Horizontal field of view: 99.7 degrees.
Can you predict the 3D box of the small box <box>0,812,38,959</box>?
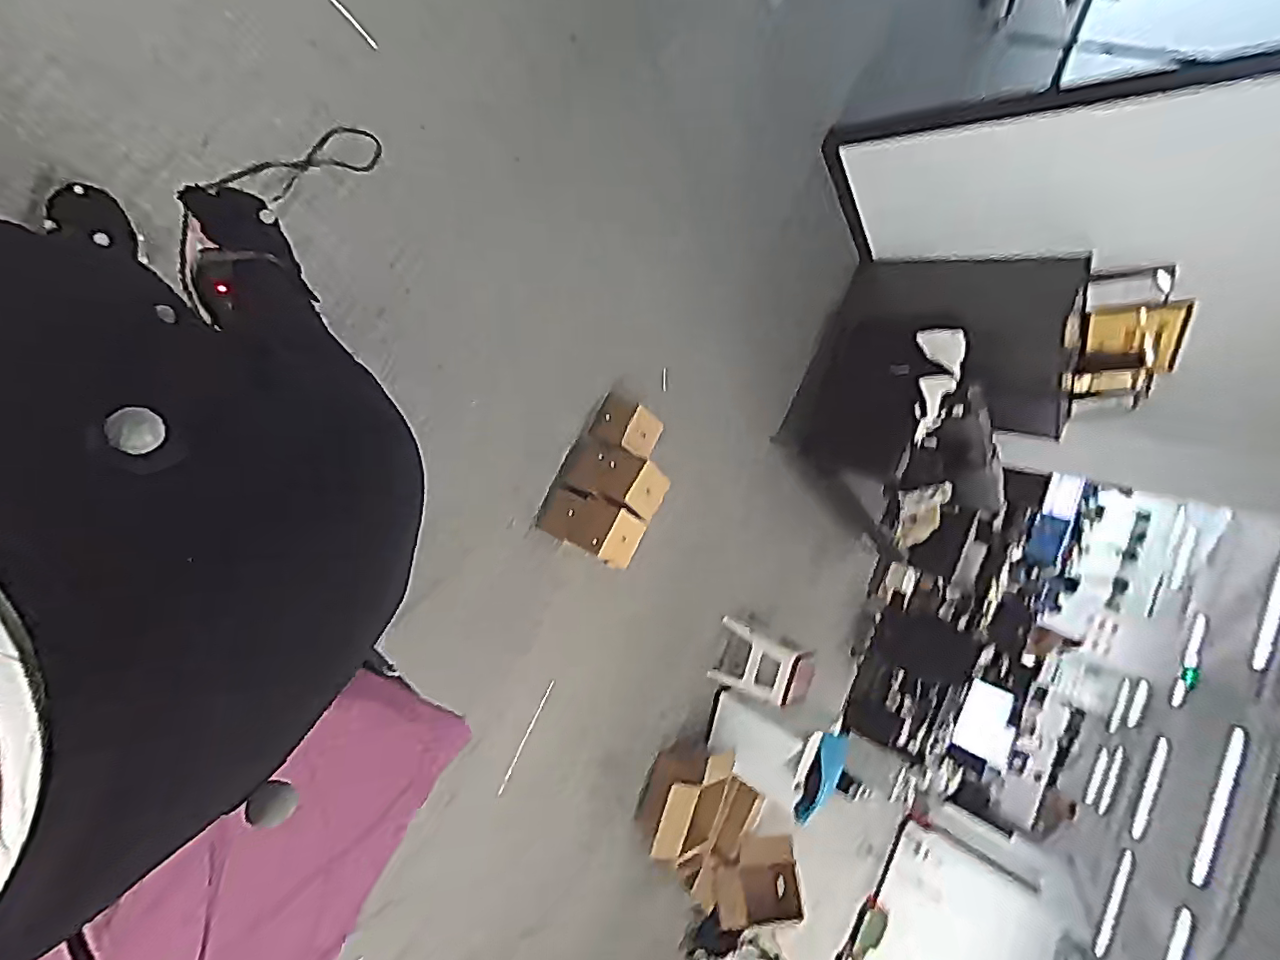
[{"bbox_3d":[-0.683,0.411,0.463,0.168,0.176,0.179,40,75,-47],"label":"small box"}]
